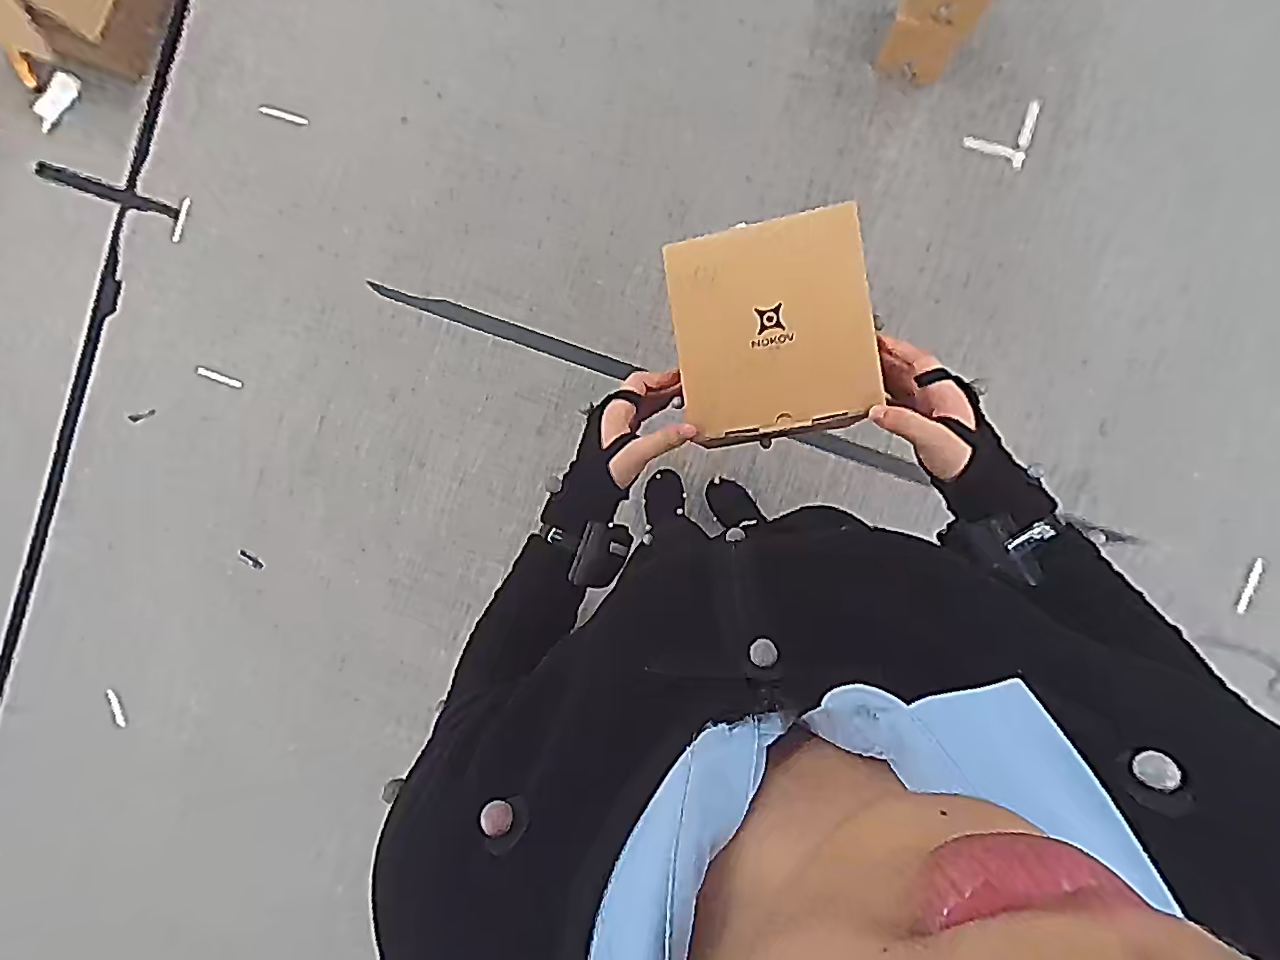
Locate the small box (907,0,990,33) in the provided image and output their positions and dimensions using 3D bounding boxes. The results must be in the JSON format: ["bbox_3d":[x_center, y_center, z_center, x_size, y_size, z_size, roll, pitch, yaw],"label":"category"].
[{"bbox_3d":[0.713,-1.140,1.173,0.168,0.176,0.179,24,94,6],"label":"small box"}]
